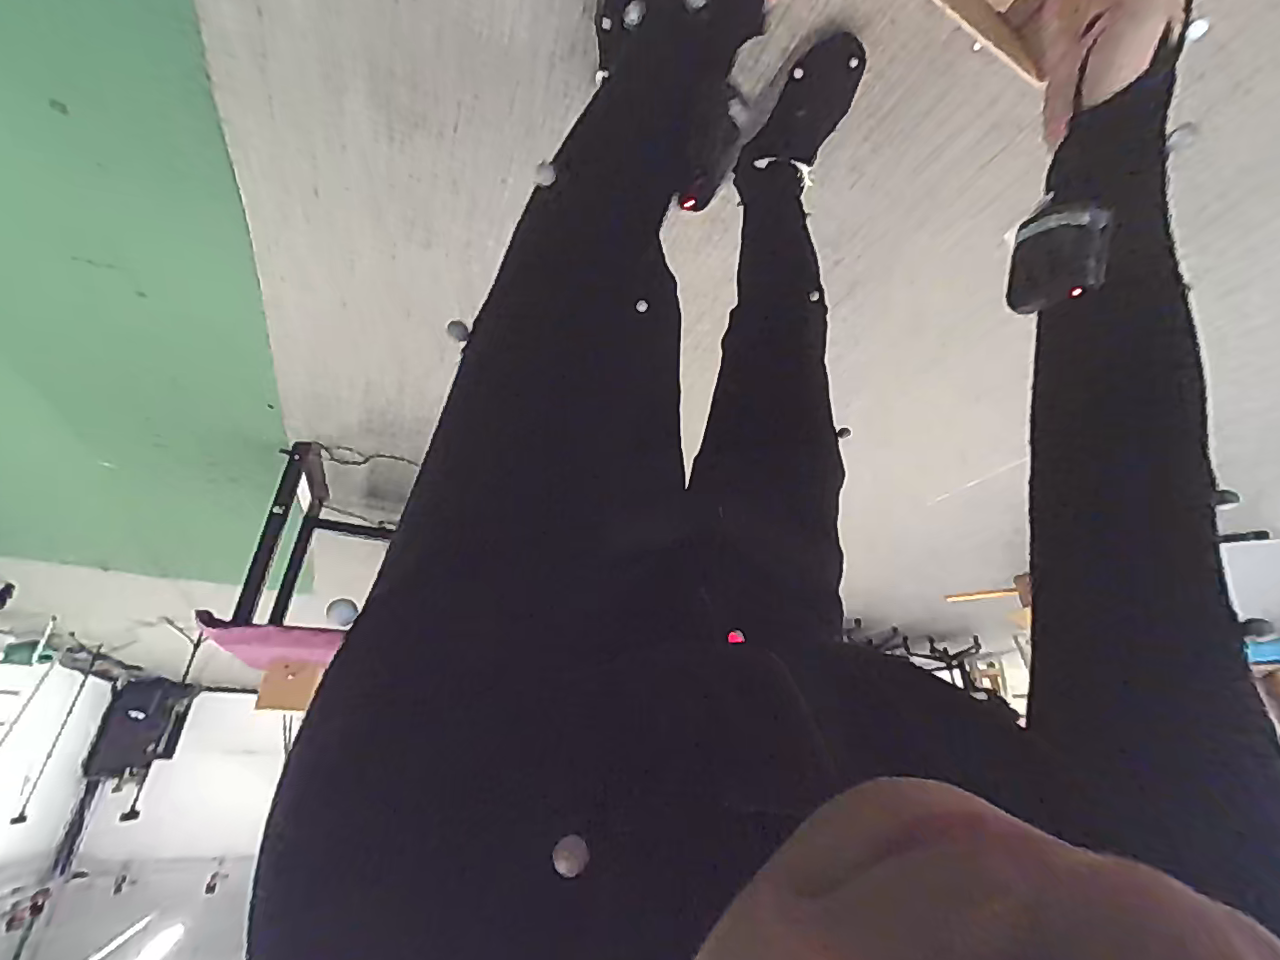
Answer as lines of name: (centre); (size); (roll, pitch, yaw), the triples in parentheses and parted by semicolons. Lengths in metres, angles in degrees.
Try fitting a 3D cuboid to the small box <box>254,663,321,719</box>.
small box: (-1.285, 0.776, 1.982); (0.168, 0.176, 0.179); (12, 149, -23)
